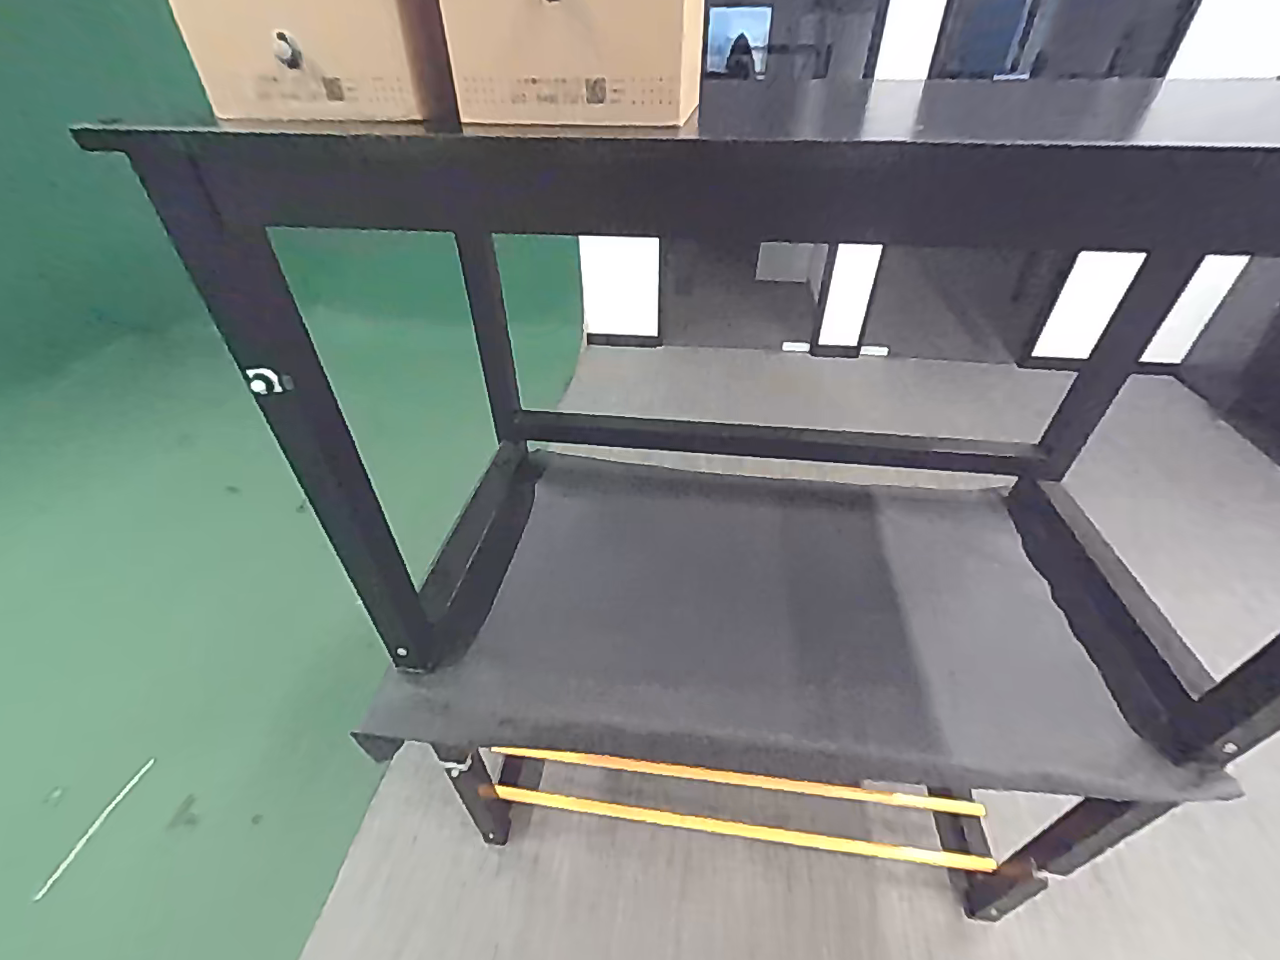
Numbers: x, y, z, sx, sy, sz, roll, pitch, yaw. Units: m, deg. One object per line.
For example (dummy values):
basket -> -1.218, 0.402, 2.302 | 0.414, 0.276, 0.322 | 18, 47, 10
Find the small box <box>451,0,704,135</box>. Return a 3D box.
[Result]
small box -> -0.038, -0.373, 0.415 | 0.168, 0.176, 0.179 | 5, 39, 7
